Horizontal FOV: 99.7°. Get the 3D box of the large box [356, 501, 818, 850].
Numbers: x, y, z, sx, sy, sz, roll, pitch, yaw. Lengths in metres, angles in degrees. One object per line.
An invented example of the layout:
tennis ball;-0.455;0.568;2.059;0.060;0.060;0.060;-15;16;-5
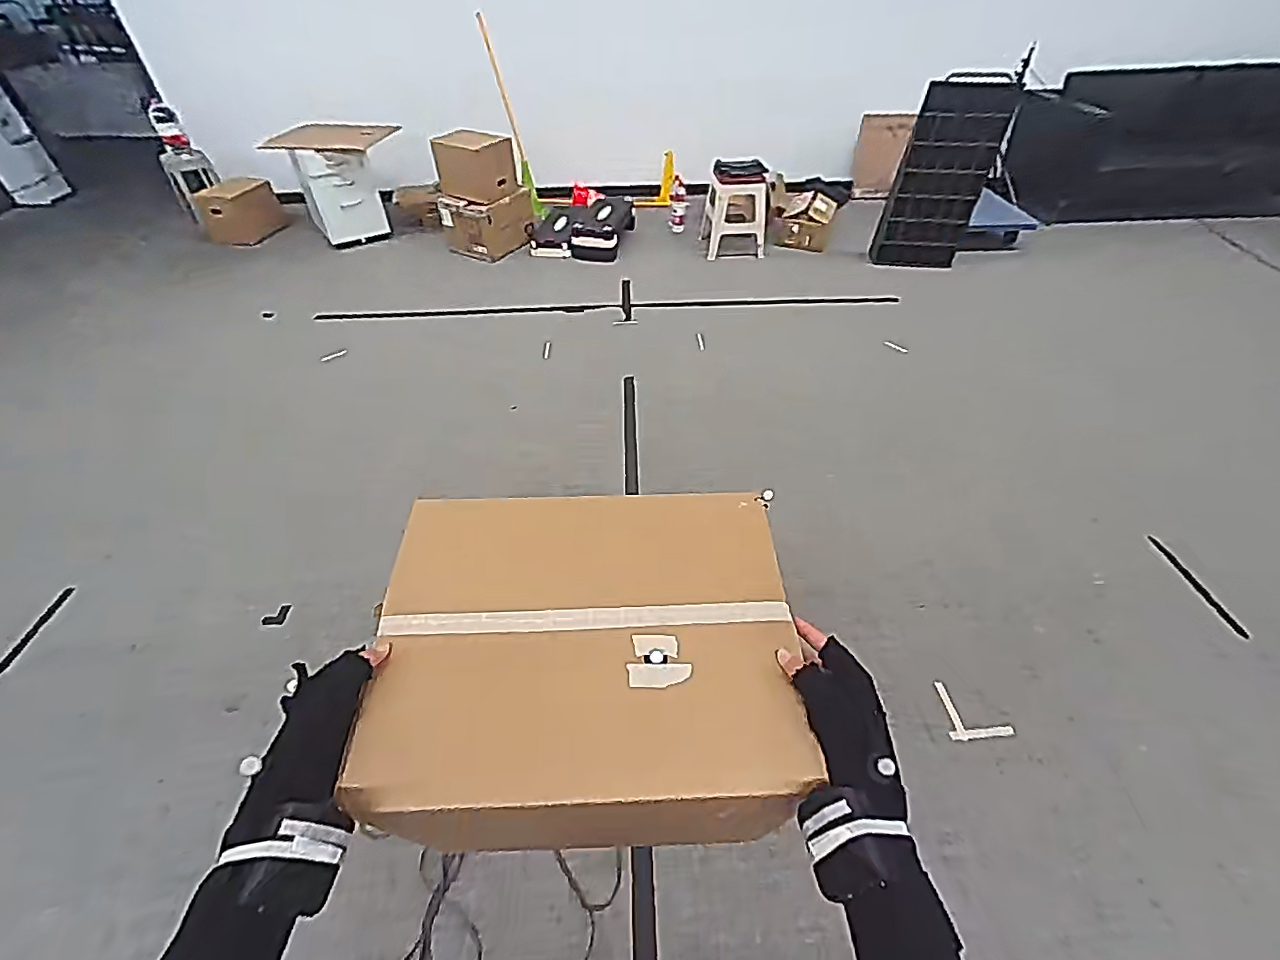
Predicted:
large box;-0.053;0.243;0.666;0.408;0.320;0.320;-1;51;-2
